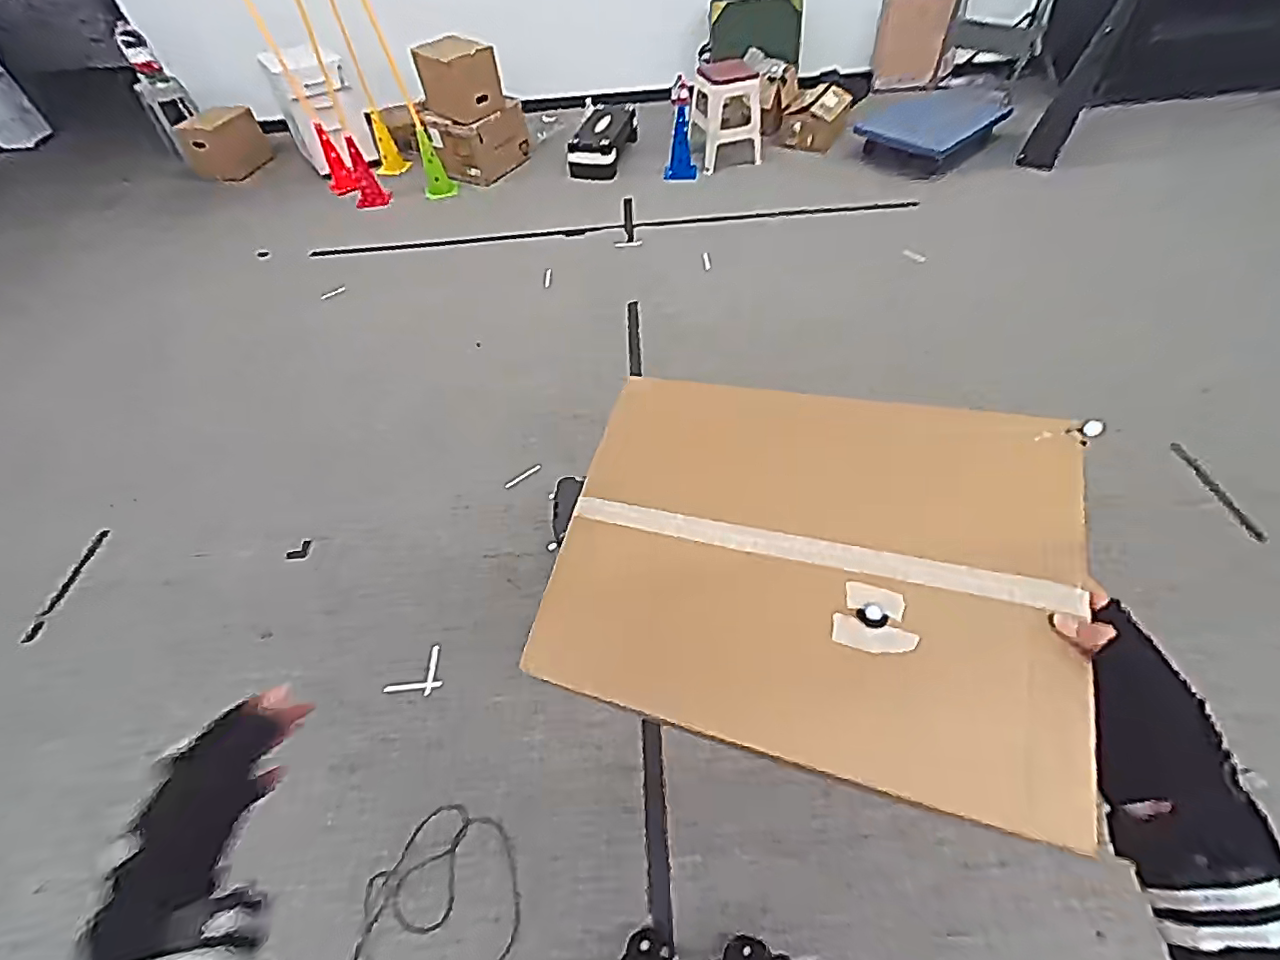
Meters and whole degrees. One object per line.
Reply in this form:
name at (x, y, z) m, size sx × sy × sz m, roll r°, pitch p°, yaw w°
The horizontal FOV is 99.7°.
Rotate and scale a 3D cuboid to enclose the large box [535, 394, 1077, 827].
large box at (0.164, 0.134, 0.593) m, size 0.408 × 0.320 × 0.320 m, roll 9°, pitch 65°, yaw 19°
